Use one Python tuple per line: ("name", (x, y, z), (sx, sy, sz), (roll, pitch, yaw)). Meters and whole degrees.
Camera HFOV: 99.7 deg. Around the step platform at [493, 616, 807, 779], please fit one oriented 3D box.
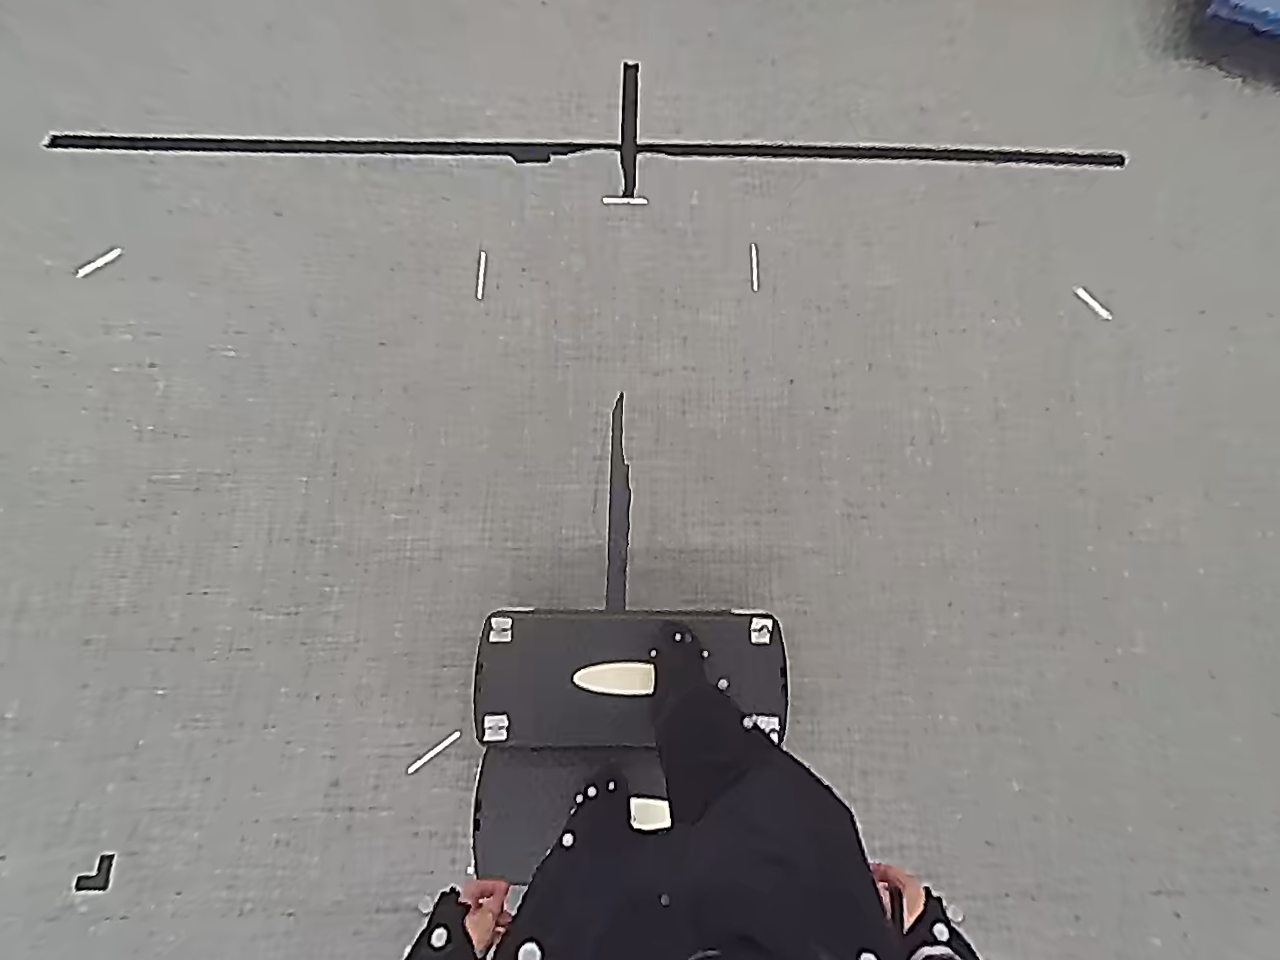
("step platform", (0.022, 0.479, 1.220), (0.684, 0.204, 0.286), (5, 74, -1))
